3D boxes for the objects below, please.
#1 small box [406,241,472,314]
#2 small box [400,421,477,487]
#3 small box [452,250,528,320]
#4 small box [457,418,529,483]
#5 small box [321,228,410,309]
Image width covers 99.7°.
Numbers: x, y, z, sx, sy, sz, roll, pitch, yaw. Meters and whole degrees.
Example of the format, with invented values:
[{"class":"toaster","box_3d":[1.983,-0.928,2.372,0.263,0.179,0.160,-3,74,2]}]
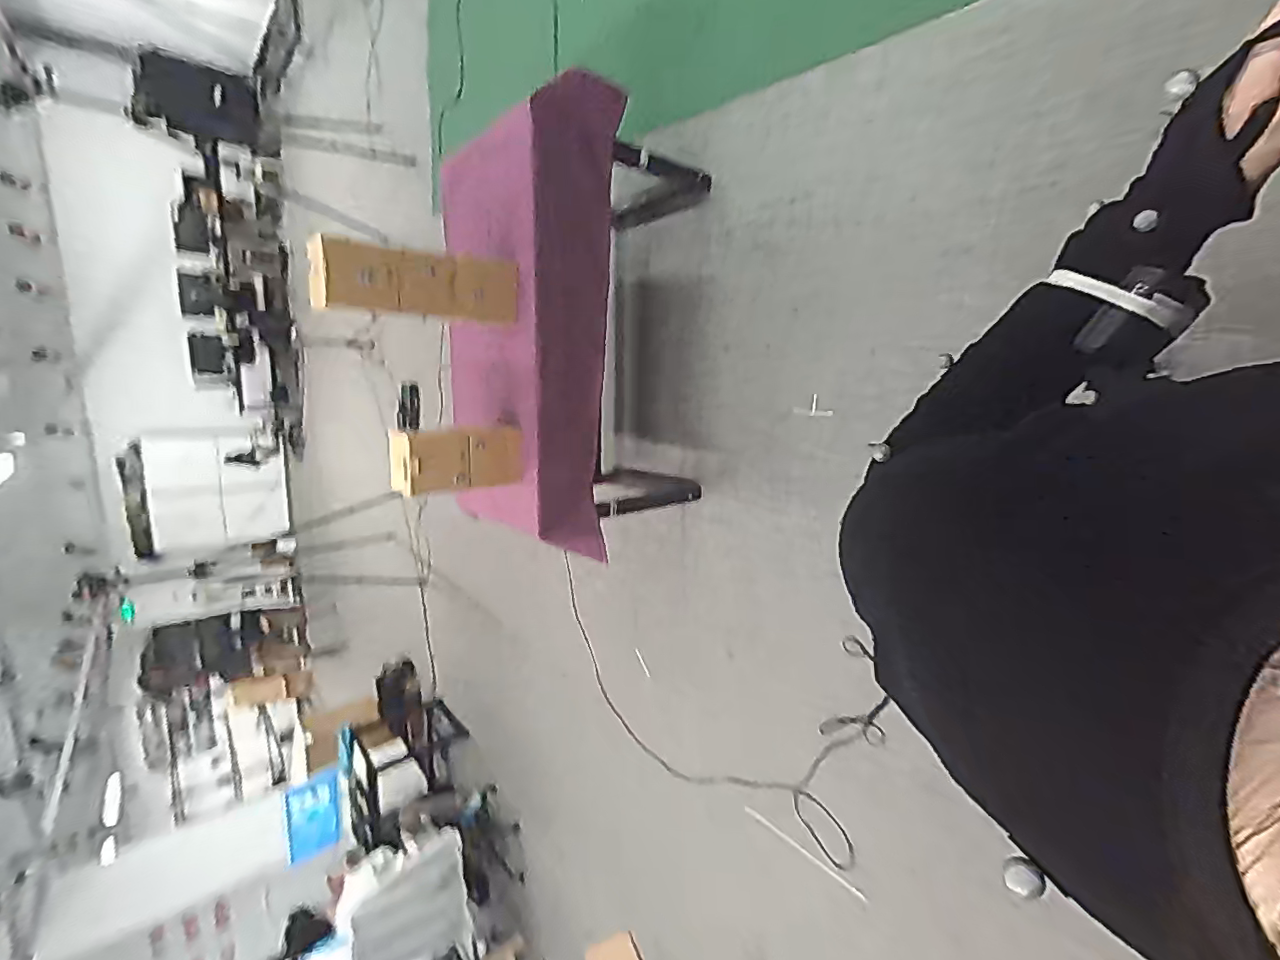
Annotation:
[{"class":"small box","box_3d":[-0.572,-0.553,1.488,0.179,0.176,0.168,21,111,47]},{"class":"small box","box_3d":[-0.582,-0.081,1.570,0.179,0.176,0.168,14,106,50]},{"class":"small box","box_3d":[-0.442,-0.567,1.585,0.168,0.176,0.179,21,111,46]},{"class":"small box","box_3d":[-0.453,-0.097,1.671,0.168,0.176,0.179,15,106,48]},{"class":"small box","box_3d":[-0.698,-0.535,1.384,0.179,0.176,0.168,19,109,46]}]
